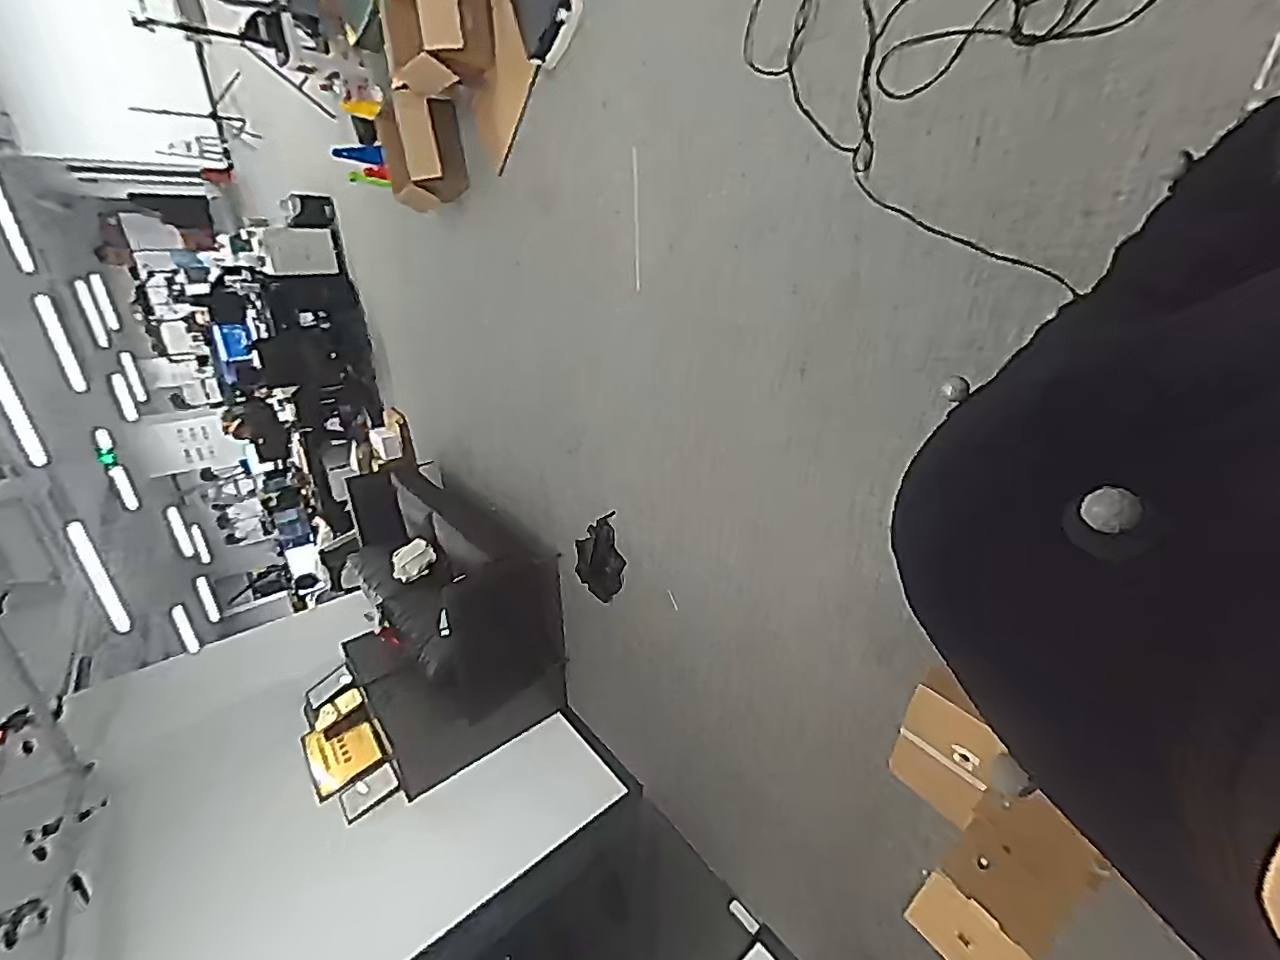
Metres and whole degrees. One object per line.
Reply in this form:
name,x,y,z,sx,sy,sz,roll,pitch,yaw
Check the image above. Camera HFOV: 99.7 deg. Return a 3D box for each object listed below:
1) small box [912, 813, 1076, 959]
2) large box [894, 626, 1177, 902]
small box,0.623,0.739,0.952,0.168,0.176,0.179,35,133,43
large box,0.887,0.617,1.250,0.408,0.320,0.320,31,128,44
